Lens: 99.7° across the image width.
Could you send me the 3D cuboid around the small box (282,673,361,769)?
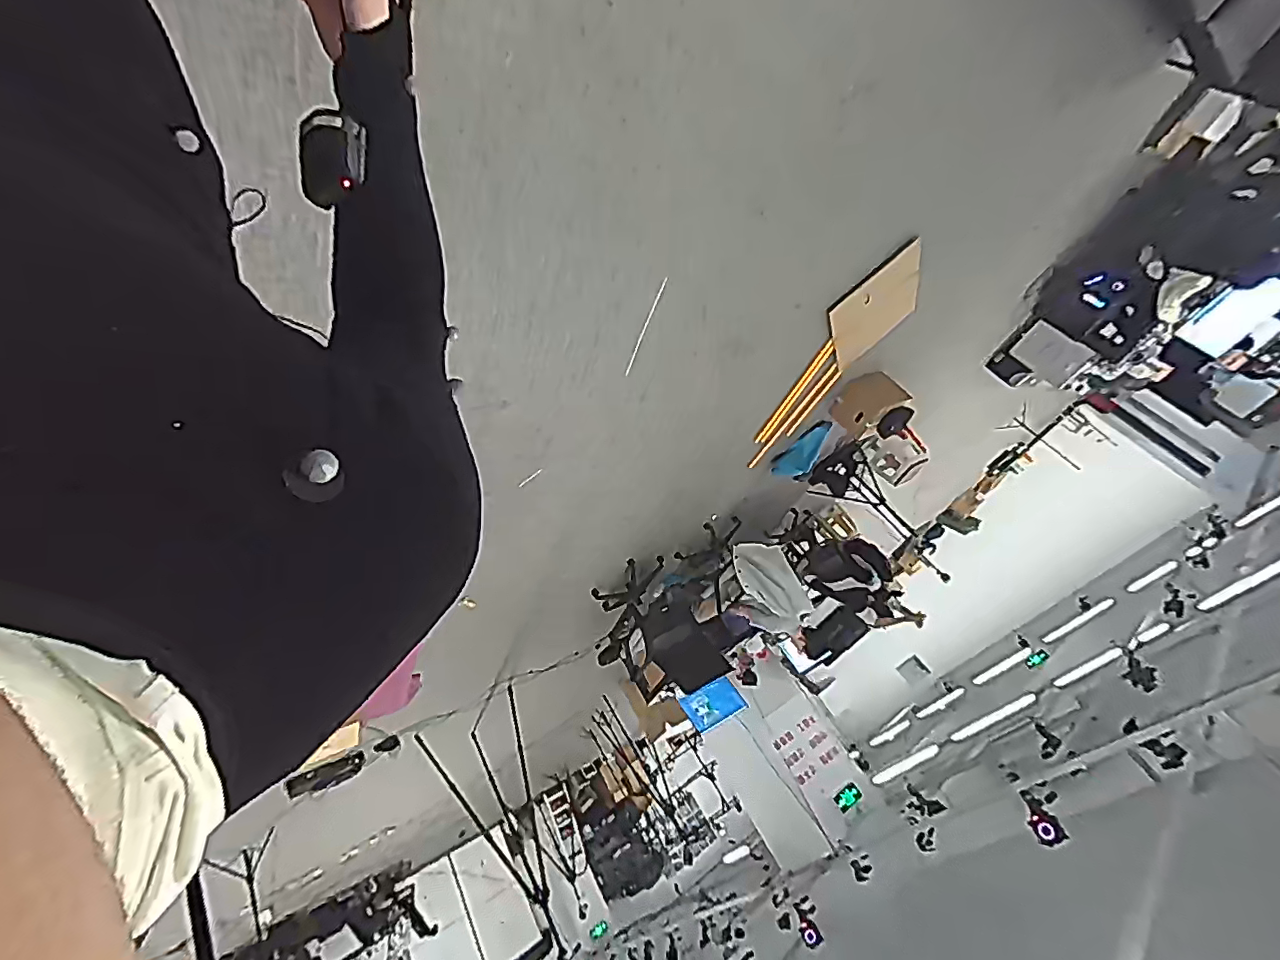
[{"bbox_3d":[-0.914,0.685,1.549,0.168,0.176,0.179,-12,143,-38],"label":"small box"}]
